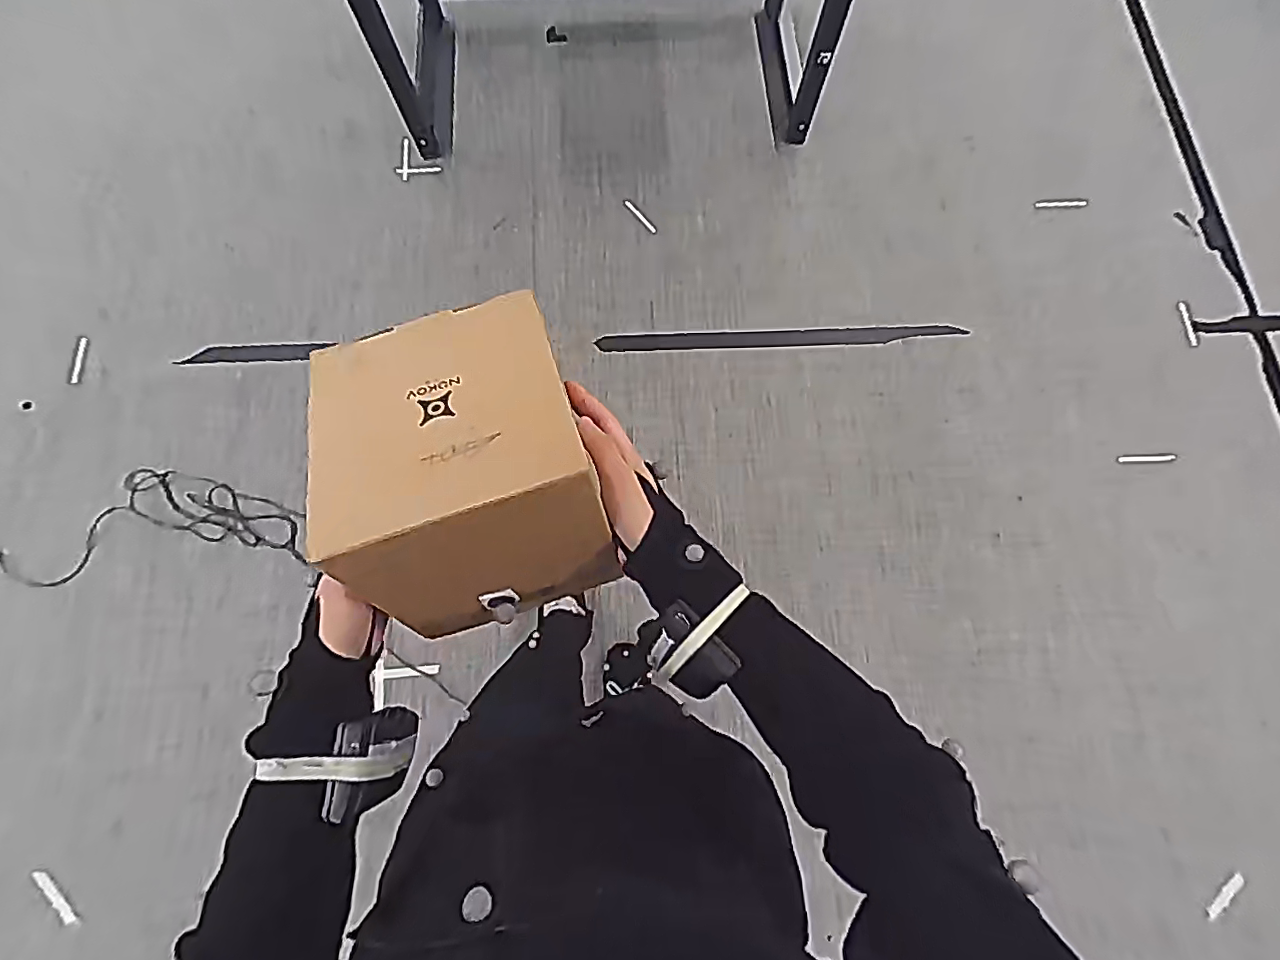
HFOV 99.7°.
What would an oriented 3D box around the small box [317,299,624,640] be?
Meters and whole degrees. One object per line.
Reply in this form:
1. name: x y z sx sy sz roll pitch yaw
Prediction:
1. small box: -0.121 -0.001 0.421 0.168 0.176 0.179 -19 59 -5
